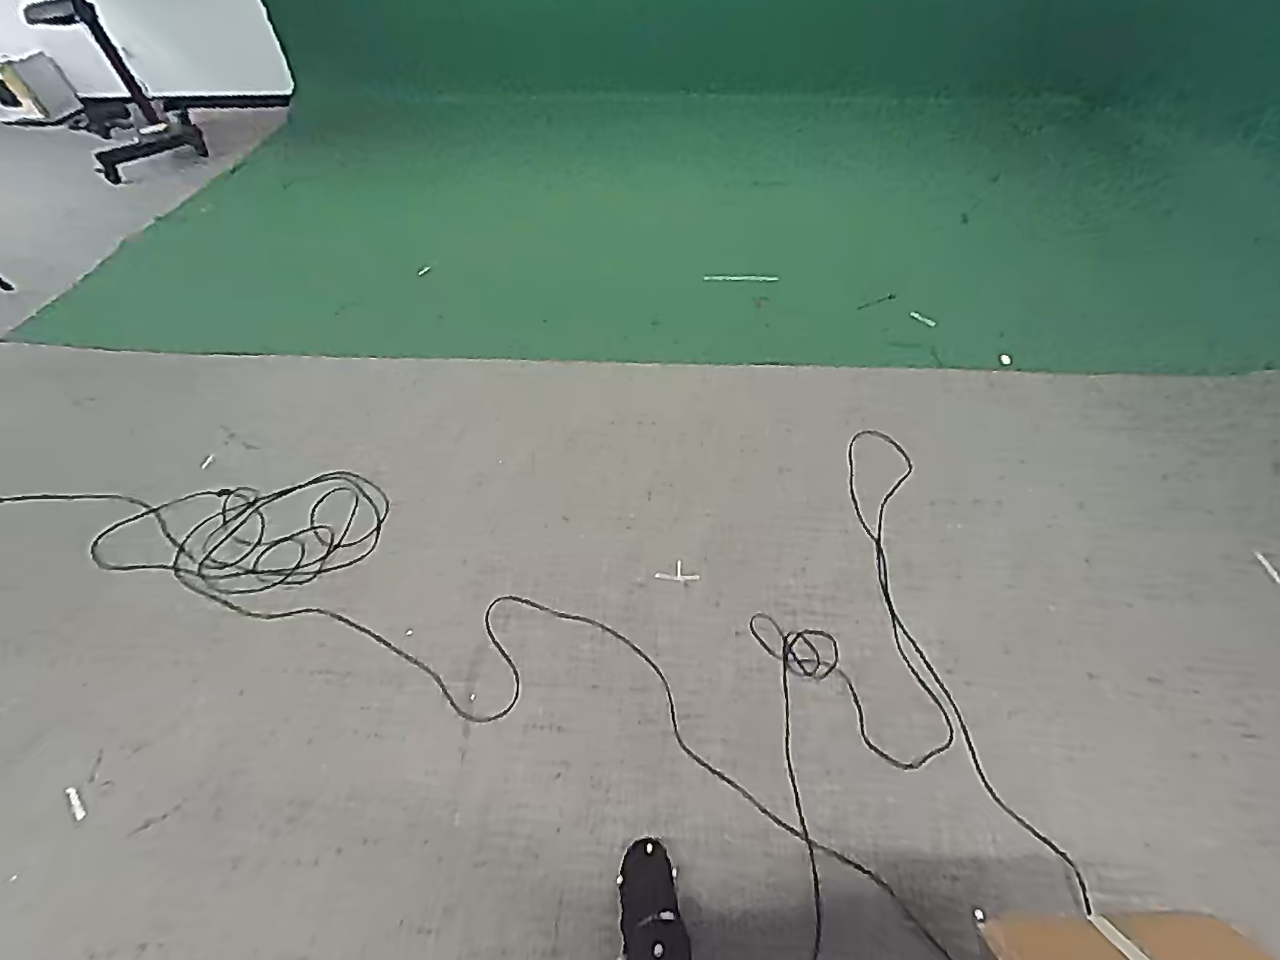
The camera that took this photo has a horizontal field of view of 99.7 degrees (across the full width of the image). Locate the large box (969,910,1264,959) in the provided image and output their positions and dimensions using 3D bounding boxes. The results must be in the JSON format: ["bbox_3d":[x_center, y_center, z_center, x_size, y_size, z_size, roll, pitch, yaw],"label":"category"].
[{"bbox_3d":[0.616,0.738,0.544,0.320,0.408,0.320,-6,83,6],"label":"large box"}]
